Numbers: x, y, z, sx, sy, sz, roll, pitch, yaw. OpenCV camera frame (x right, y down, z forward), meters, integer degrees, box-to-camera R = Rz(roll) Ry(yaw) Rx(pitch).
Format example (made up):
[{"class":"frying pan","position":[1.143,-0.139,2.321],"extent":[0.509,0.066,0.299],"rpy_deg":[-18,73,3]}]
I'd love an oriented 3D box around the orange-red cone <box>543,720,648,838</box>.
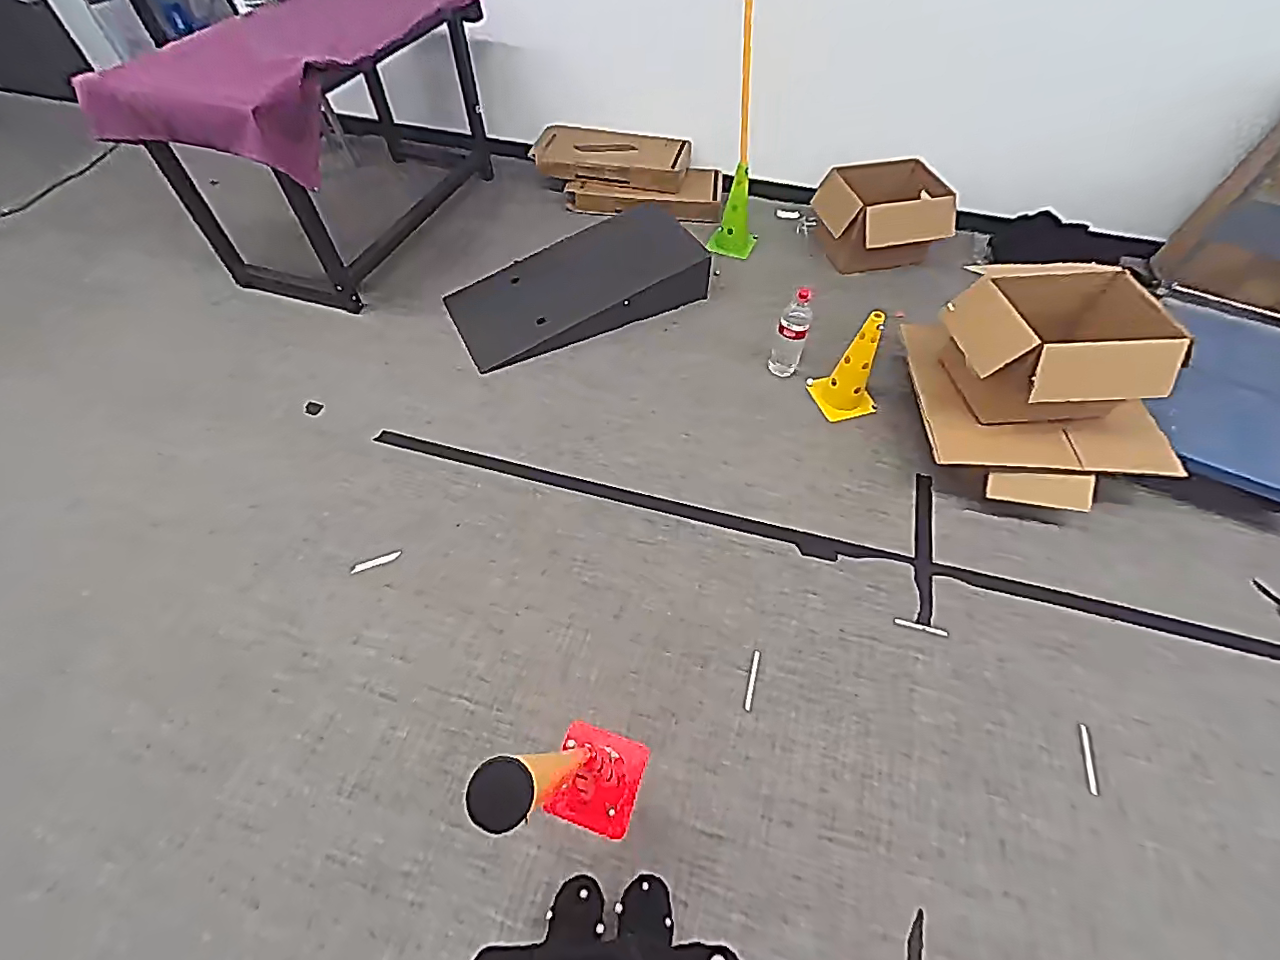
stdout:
[{"class":"orange-red cone","position":[-0.095,0.573,1.086],"extent":[0.198,0.360,0.199],"rpy_deg":[17,56,10]}]
